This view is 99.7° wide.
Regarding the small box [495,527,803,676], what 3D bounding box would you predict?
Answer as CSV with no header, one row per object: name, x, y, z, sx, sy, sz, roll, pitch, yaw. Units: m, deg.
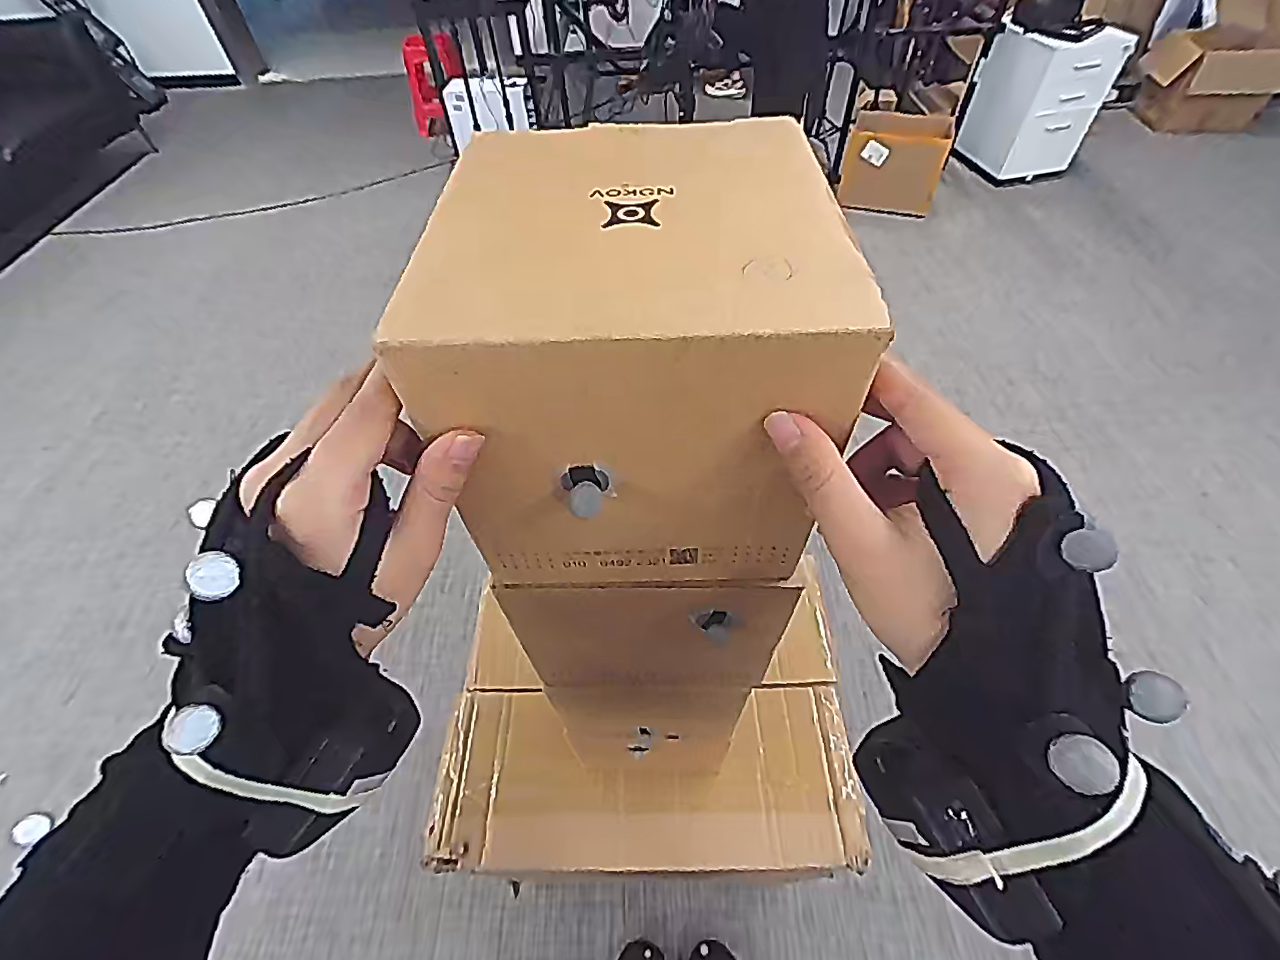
small box,0.008,0.041,0.412,0.179,0.176,0.168,-1,51,2

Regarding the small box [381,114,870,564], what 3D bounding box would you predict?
small box,-0.002,-0.065,0.289,0.168,0.176,0.179,-2,51,1

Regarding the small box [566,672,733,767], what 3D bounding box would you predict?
small box,0.015,0.248,0.668,0.179,0.176,0.168,0,51,2
